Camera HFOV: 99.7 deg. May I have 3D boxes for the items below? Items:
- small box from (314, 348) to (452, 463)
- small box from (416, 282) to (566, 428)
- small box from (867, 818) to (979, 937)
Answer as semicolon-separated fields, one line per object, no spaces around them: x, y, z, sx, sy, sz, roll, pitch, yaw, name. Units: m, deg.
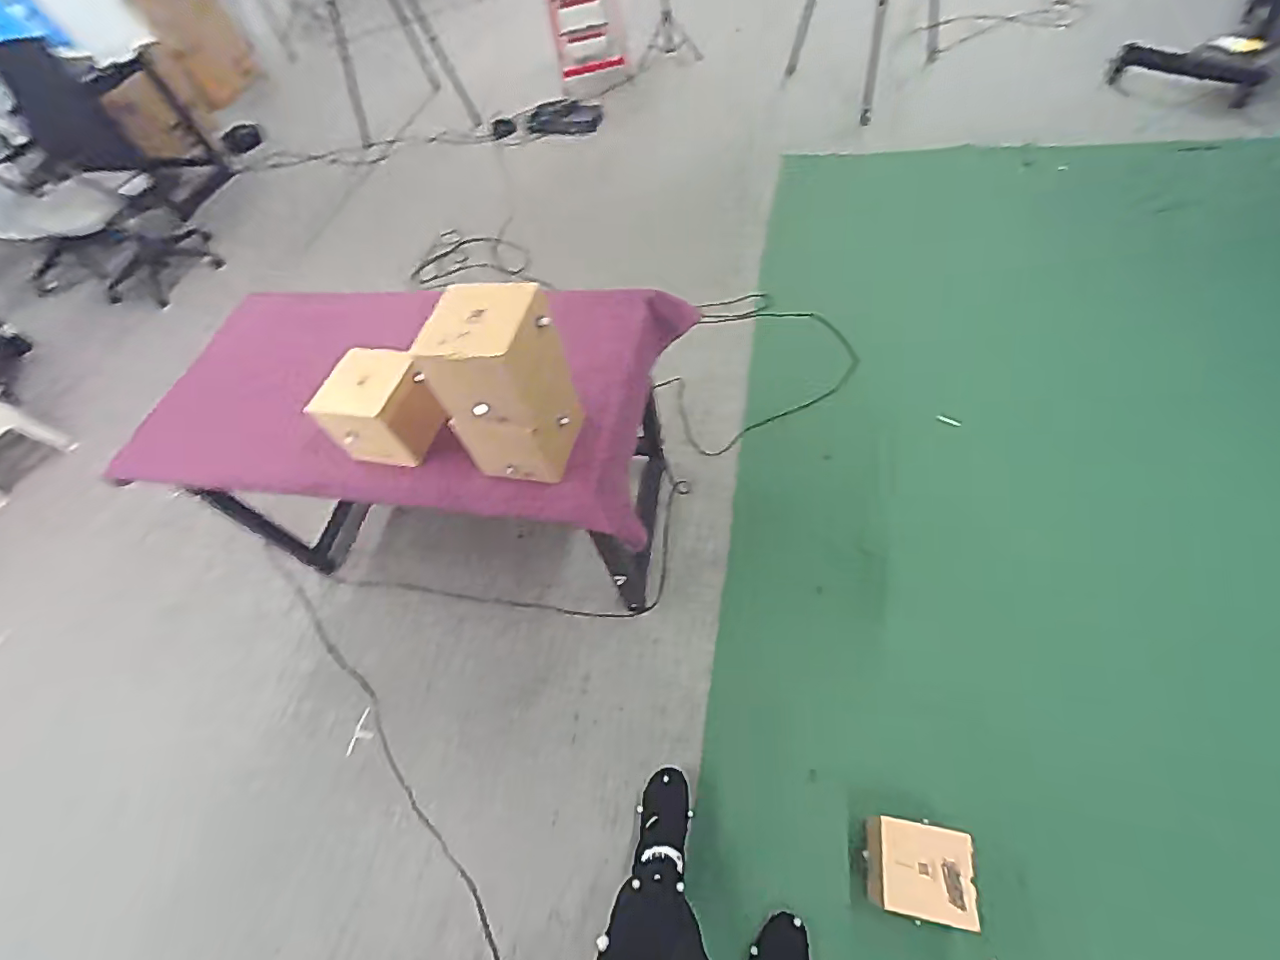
-0.528;-0.154;1.140;0.168;0.176;0.179;7;57;15;small box
-0.238;-0.213;0.923;0.168;0.176;0.179;6;58;15;small box
0.597;0.842;1.161;0.179;0.176;0.168;5;58;16;small box
